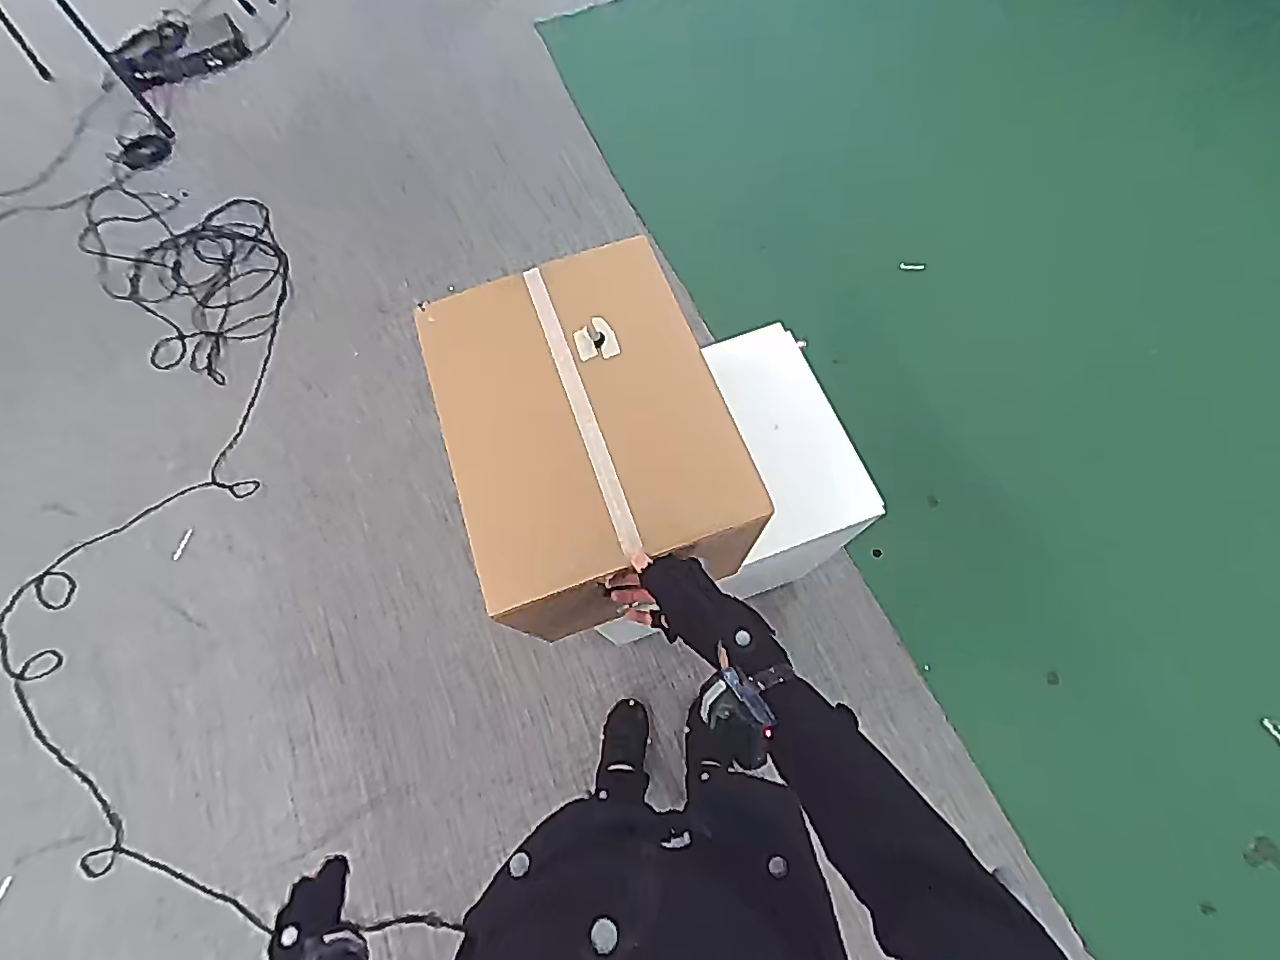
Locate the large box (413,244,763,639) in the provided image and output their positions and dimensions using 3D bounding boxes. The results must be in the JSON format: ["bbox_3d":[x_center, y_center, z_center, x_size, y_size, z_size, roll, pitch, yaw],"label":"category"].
[{"bbox_3d":[-0.068,-0.034,0.764,0.320,0.320,0.408,-20,68,-5],"label":"large box"}]
